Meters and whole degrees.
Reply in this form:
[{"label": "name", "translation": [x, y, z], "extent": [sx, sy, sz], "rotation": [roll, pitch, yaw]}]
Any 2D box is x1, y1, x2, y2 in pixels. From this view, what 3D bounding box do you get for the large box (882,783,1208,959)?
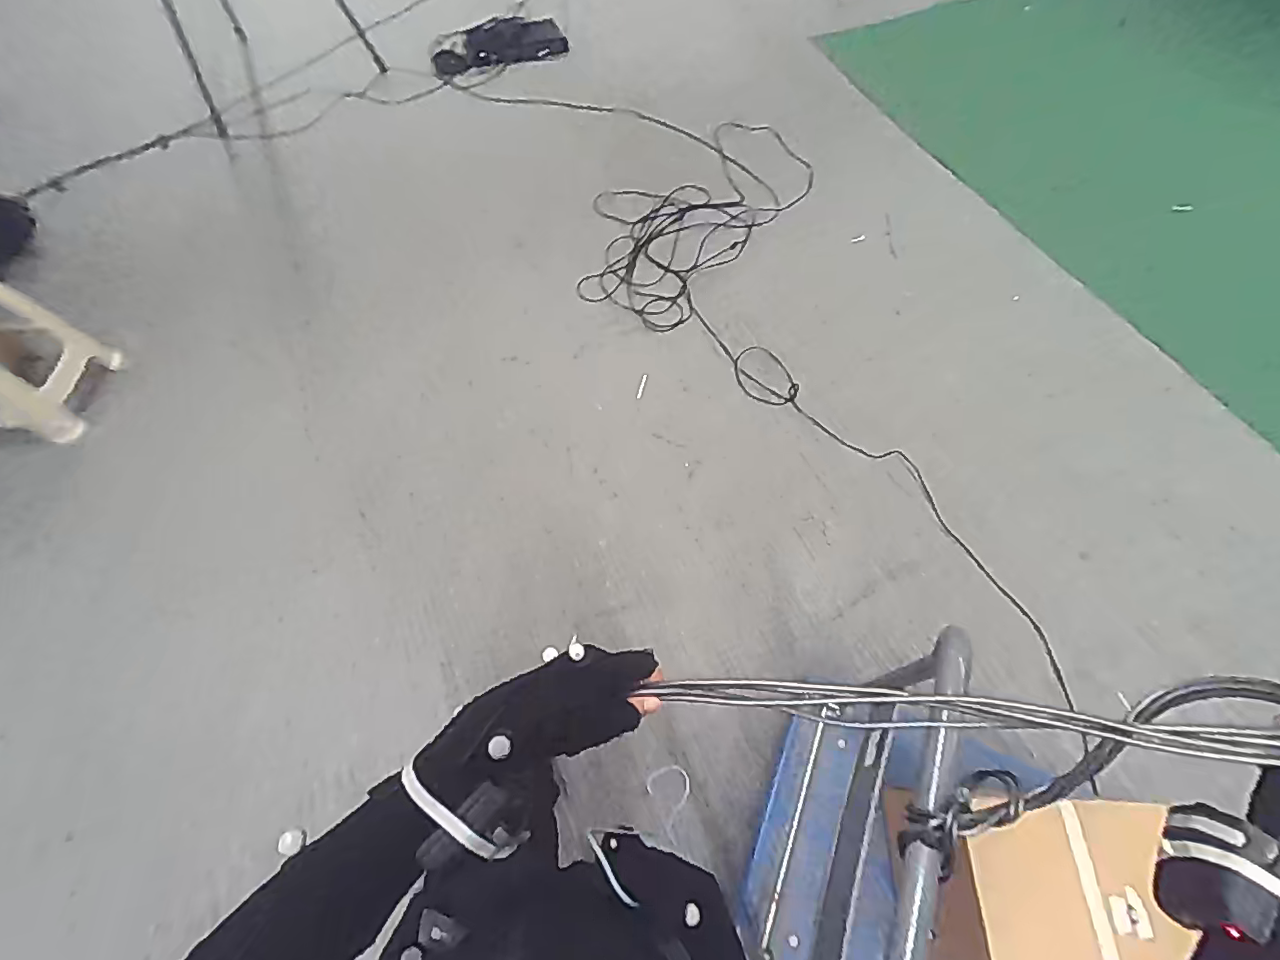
[{"label": "large box", "translation": [0.631, 0.729, 0.874], "extent": [0.320, 0.320, 0.408], "rotation": [2, 62, 1]}]
